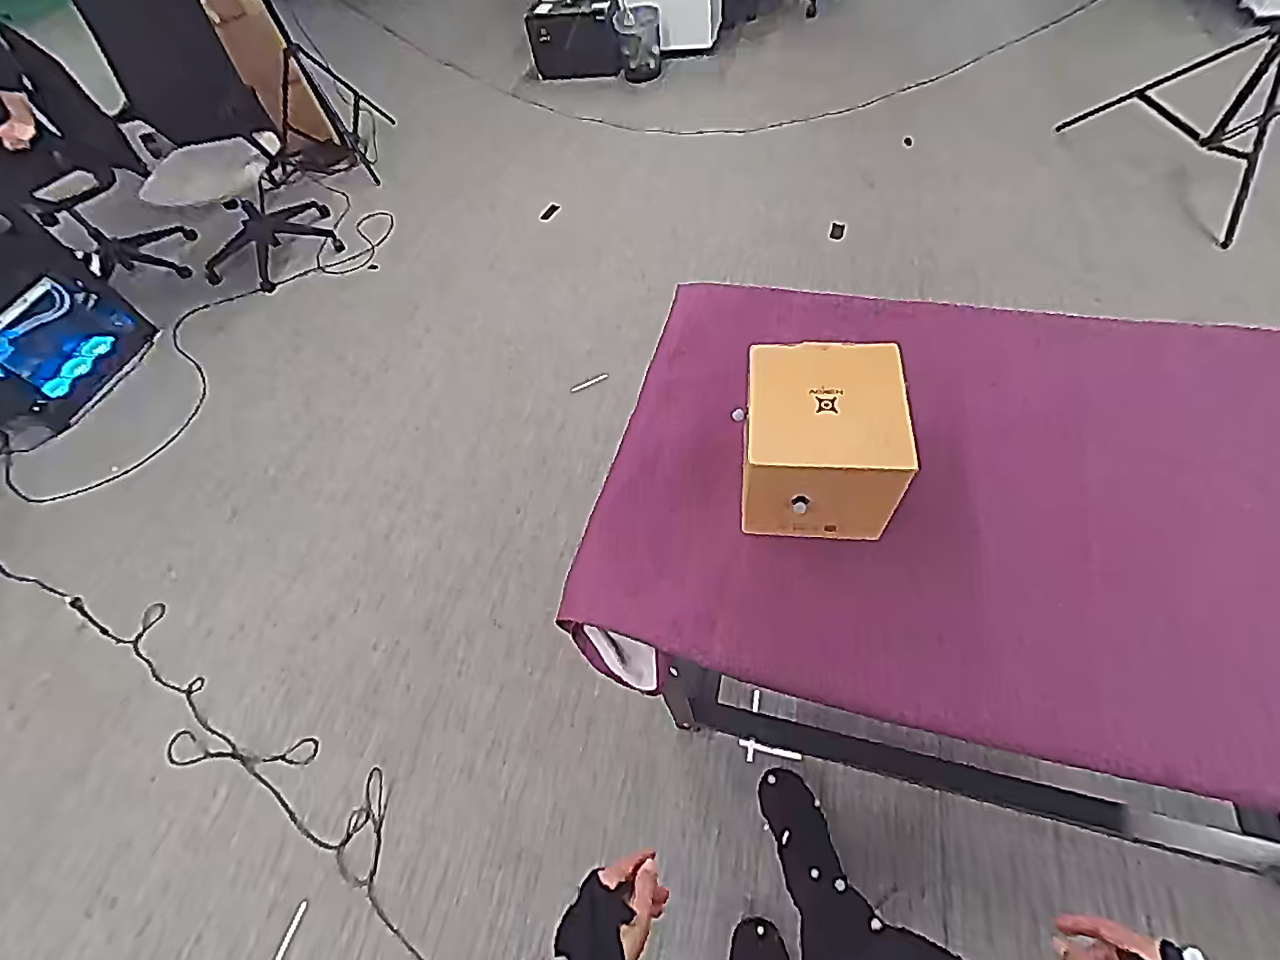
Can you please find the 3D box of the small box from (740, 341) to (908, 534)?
[{"bbox_3d":[0.209,-0.046,0.659,0.168,0.176,0.179,1,58,10],"label":"small box"}]
